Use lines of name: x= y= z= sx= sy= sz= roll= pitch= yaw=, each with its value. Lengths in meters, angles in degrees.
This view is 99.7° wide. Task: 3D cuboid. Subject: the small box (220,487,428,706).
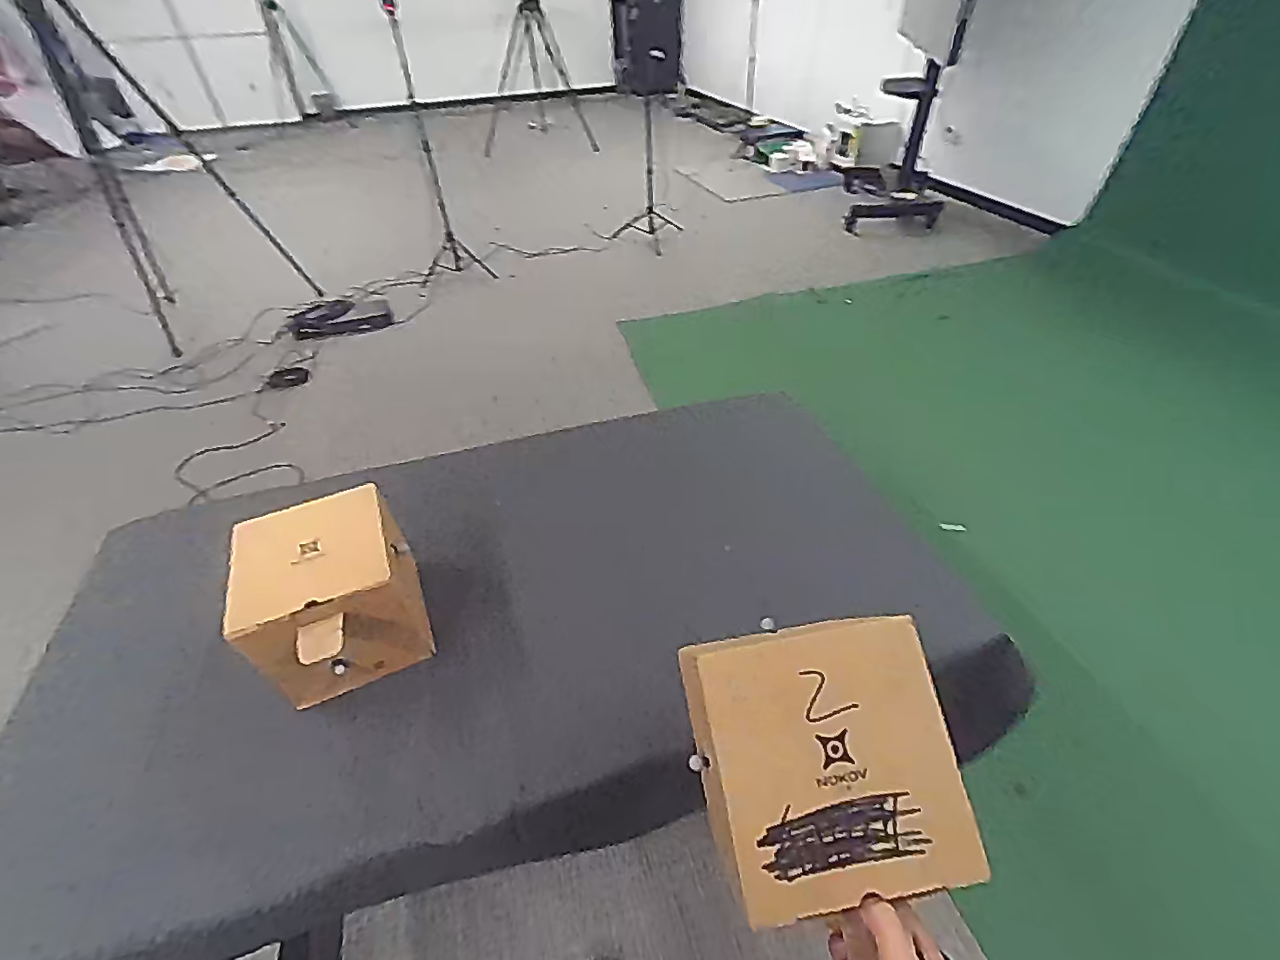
small box: x=-0.383 y=0.143 z=0.676 sx=0.168 sy=0.176 sz=0.179 roll=-20 pitch=47 yaw=-18
